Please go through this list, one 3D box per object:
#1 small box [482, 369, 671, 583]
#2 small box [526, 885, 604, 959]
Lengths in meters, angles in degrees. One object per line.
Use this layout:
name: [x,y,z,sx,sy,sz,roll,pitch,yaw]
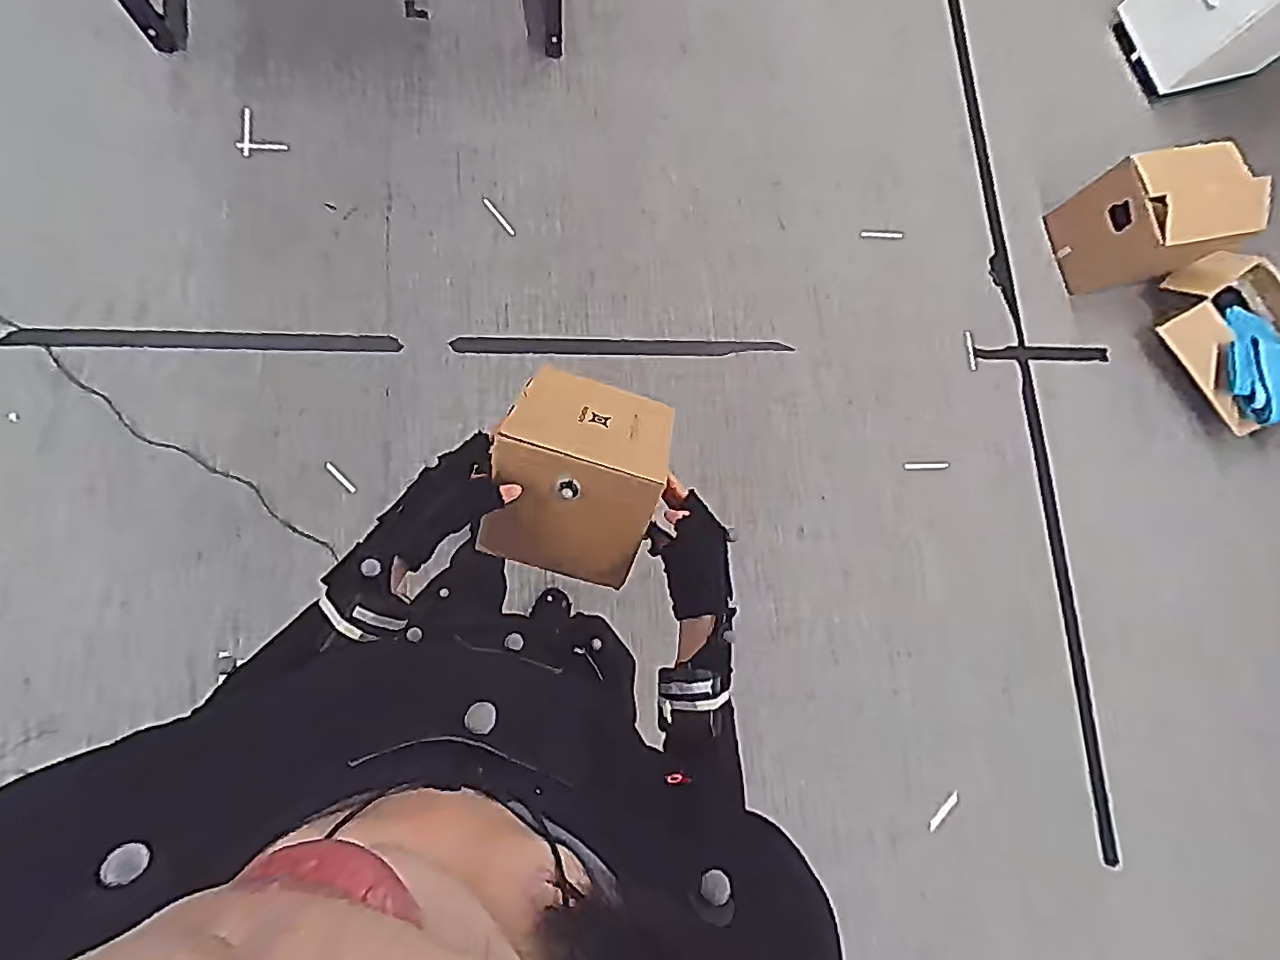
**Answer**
small box: [-0.074,-0.003,0.640,0.179,0.176,0.168,17,35,-5]
small box: [-0.178,1.123,1.304,0.179,0.176,0.168,-3,81,-9]
